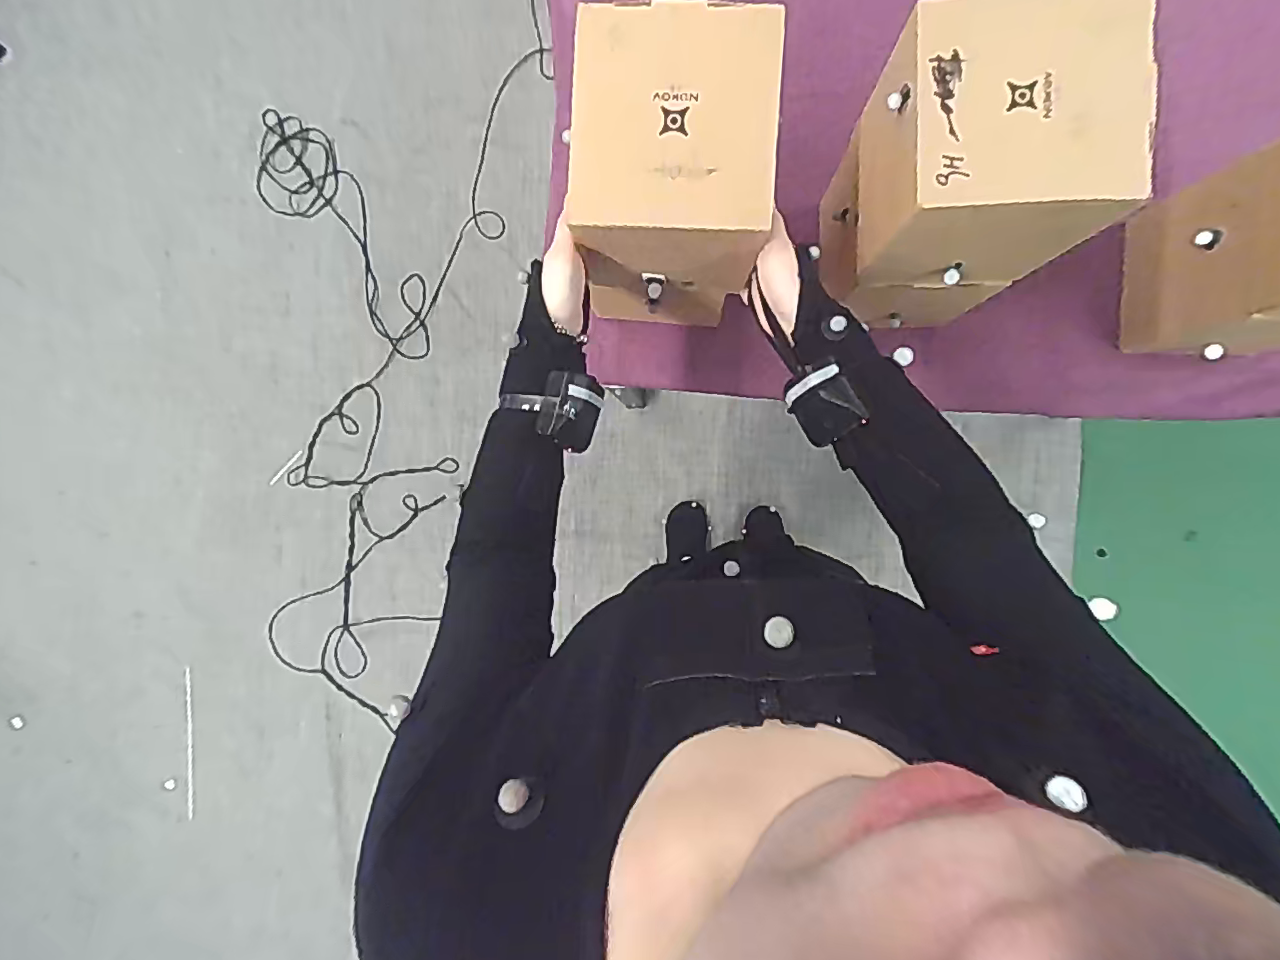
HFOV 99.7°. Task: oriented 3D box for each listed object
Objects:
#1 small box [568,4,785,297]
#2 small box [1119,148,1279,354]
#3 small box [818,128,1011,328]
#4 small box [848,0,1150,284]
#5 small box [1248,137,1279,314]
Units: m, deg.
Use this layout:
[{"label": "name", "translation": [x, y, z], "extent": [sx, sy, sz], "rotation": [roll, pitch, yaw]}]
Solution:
[{"label": "small box", "translation": [0.031, -0.287, 0.505], "extent": [0.168, 0.176, 0.179], "rotation": [3, 93, 3]}, {"label": "small box", "translation": [0.714, -0.254, 0.634], "extent": [0.168, 0.176, 0.179], "rotation": [2, 92, 5]}, {"label": "small box", "translation": [0.322, -0.297, 0.663], "extent": [0.168, 0.176, 0.179], "rotation": [1, 91, 5]}, {"label": "small box", "translation": [0.308, -0.293, 0.498], "extent": [0.179, 0.176, 0.168], "rotation": [-1, 89, 4]}, {"label": "small box", "translation": [0.702, -0.255, 0.472], "extent": [0.168, 0.176, 0.179], "rotation": [1, 92, 5]}]
